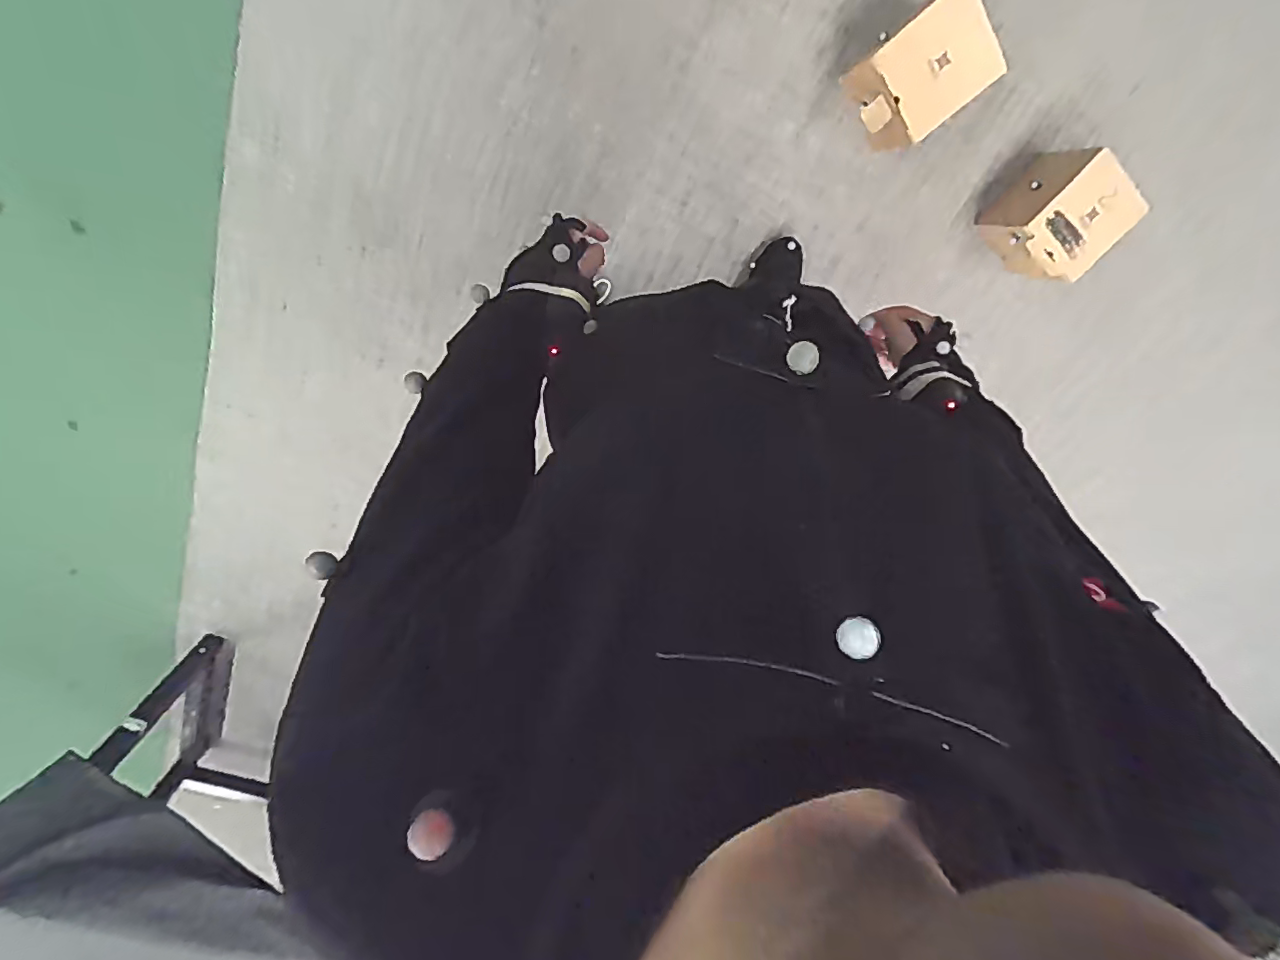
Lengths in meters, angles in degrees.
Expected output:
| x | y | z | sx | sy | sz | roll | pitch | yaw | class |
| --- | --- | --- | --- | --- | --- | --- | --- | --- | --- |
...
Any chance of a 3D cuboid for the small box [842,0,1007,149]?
| x | y | z | sx | sy | sz | roll | pitch | yaw | class |
| --- | --- | --- | --- | --- | --- | --- | --- | --- | --- |
| 0.501 | -0.733 | 0.973 | 0.179 | 0.176 | 0.168 | -37 | 113 | 17 | small box |
